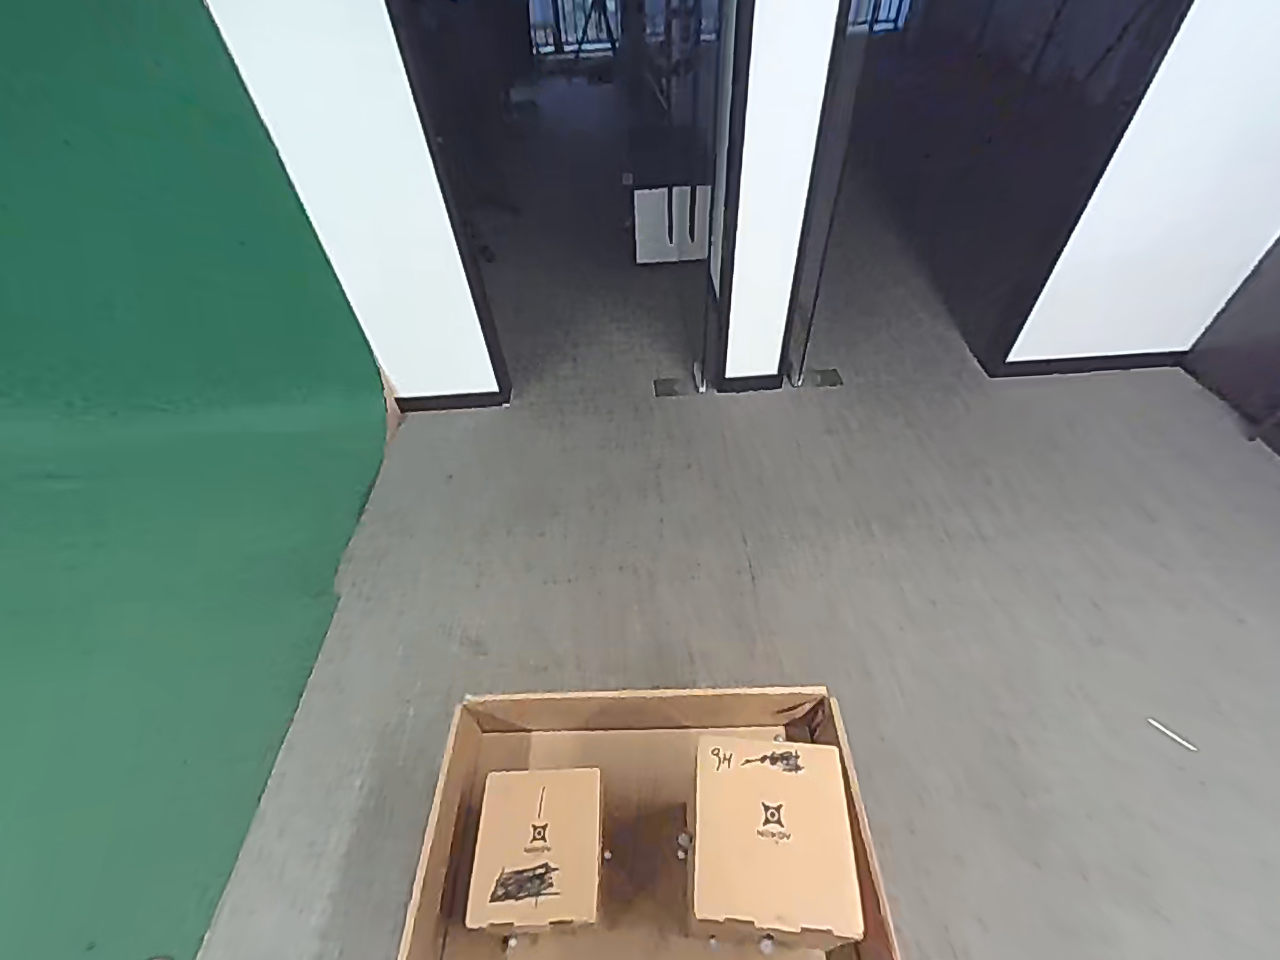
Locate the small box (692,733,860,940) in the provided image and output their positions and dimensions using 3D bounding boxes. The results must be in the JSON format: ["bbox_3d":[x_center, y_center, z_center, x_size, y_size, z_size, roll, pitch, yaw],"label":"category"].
[{"bbox_3d":[0.148,0.425,0.644,0.168,0.176,0.179,2,48,6],"label":"small box"}]
